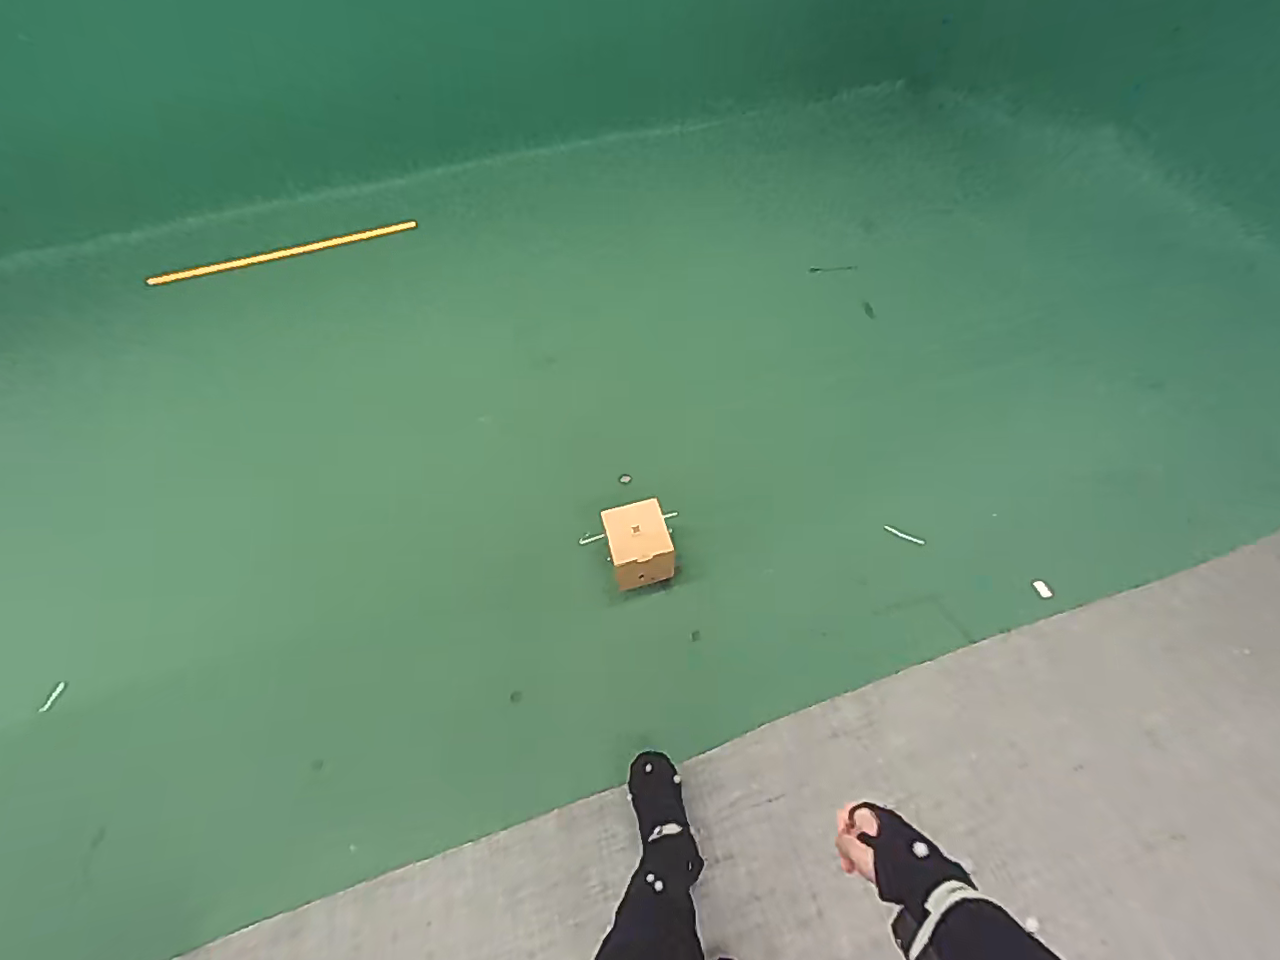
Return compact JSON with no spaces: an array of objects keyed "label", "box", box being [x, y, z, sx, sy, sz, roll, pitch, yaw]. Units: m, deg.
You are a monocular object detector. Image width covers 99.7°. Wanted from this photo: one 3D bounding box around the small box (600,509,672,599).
[{"label":"small box","box":[-0.013,0.212,1.540,0.168,0.176,0.179,-14,56,-7]}]
